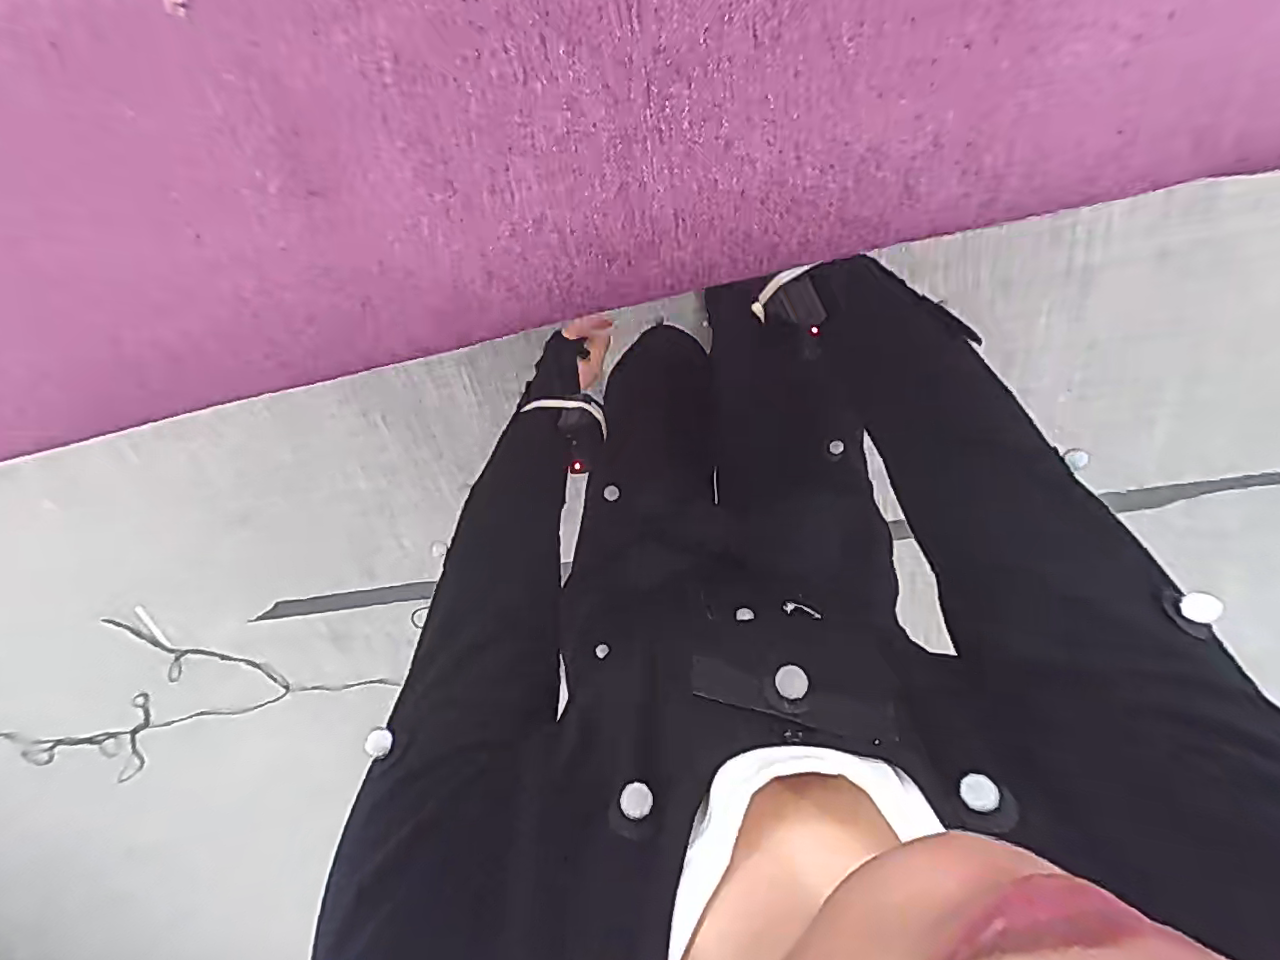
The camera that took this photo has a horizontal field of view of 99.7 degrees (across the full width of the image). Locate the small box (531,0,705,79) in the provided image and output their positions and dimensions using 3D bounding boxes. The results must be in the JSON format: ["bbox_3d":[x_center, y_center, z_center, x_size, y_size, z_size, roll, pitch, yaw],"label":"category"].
[{"bbox_3d":[-0.031,-0.550,0.558,0.168,0.176,0.179,-10,119,10],"label":"small box"}]

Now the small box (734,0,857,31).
[{"bbox_3d":[0.171,-0.583,0.525,0.168,0.176,0.179,-9,118,10],"label":"small box"}]
